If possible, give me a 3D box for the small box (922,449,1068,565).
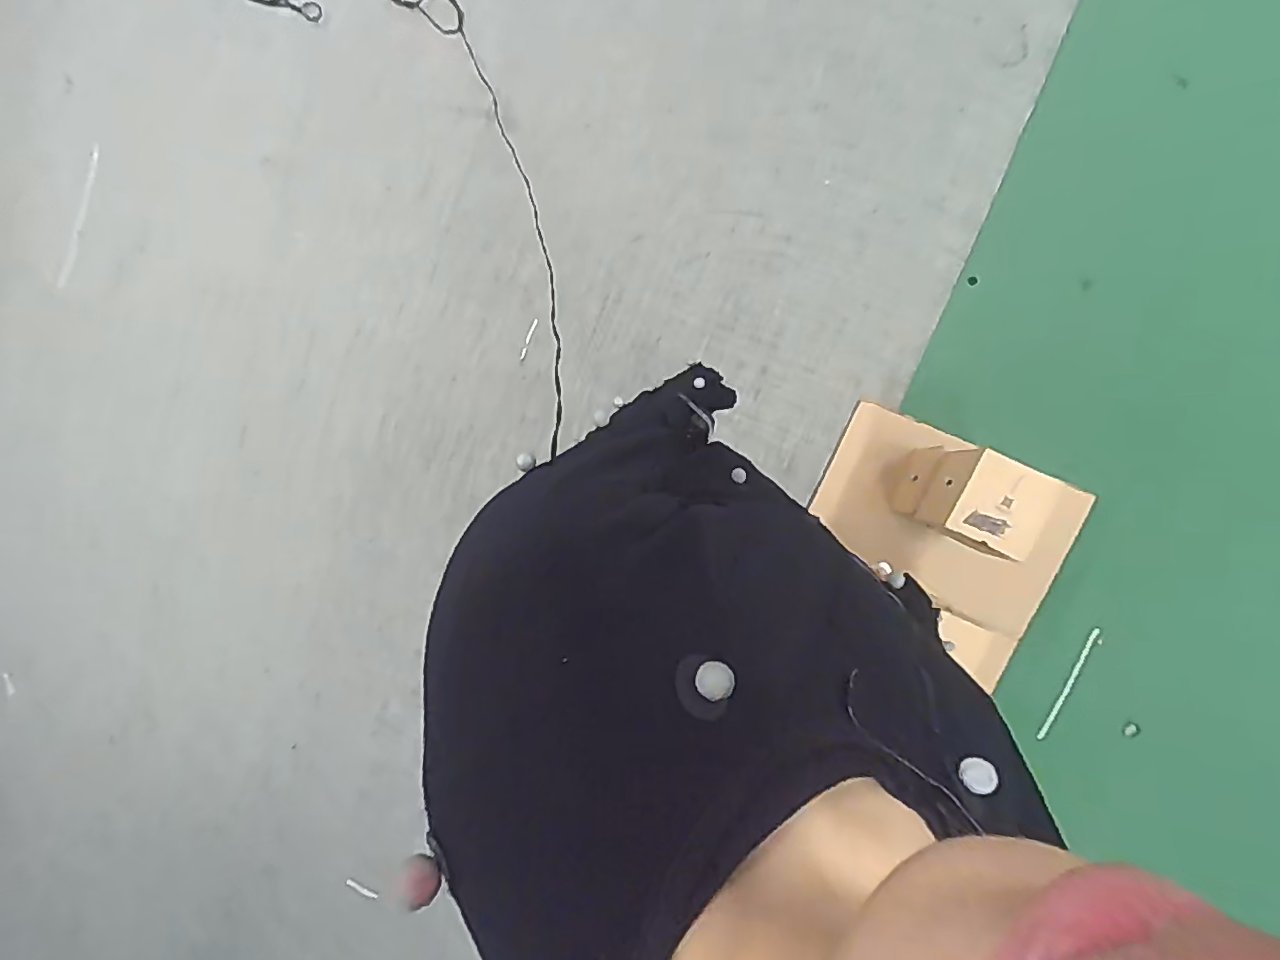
[{"bbox_3d":[0.718,0.052,1.122,0.168,0.176,0.179,27,93,6],"label":"small box"}]

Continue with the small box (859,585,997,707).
[{"bbox_3d":[0.600,0.340,1.151,0.179,0.176,0.168,25,94,7],"label":"small box"}]

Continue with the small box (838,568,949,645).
[{"bbox_3d":[0.612,0.329,1.316,0.179,0.176,0.168,23,95,7],"label":"small box"}]
